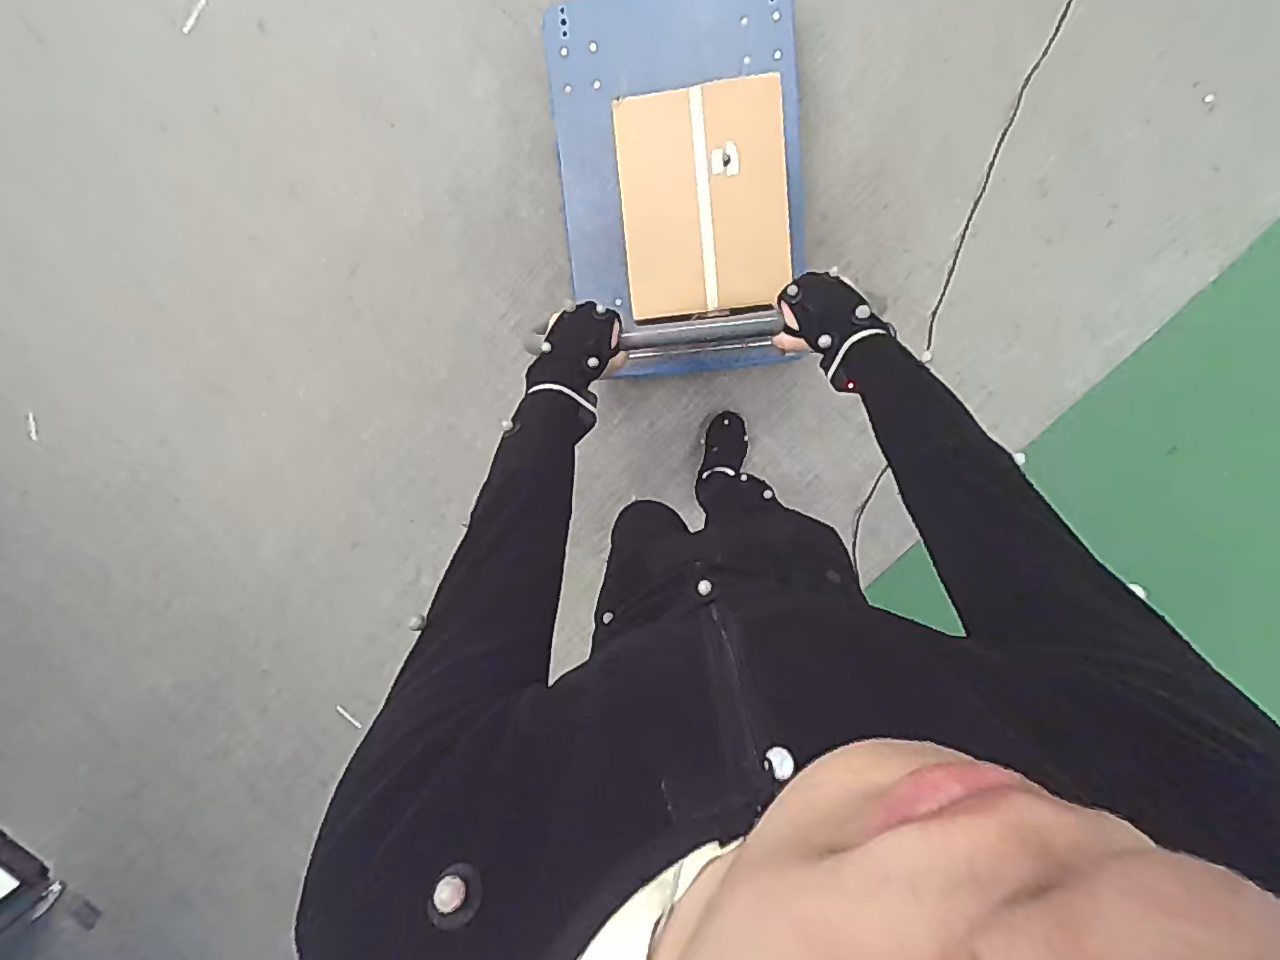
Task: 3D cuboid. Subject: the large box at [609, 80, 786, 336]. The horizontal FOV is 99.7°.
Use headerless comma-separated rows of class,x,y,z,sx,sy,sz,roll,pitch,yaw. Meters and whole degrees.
large box,0.129,-0.556,1.193,0.320,0.320,0.408,-5,98,6
